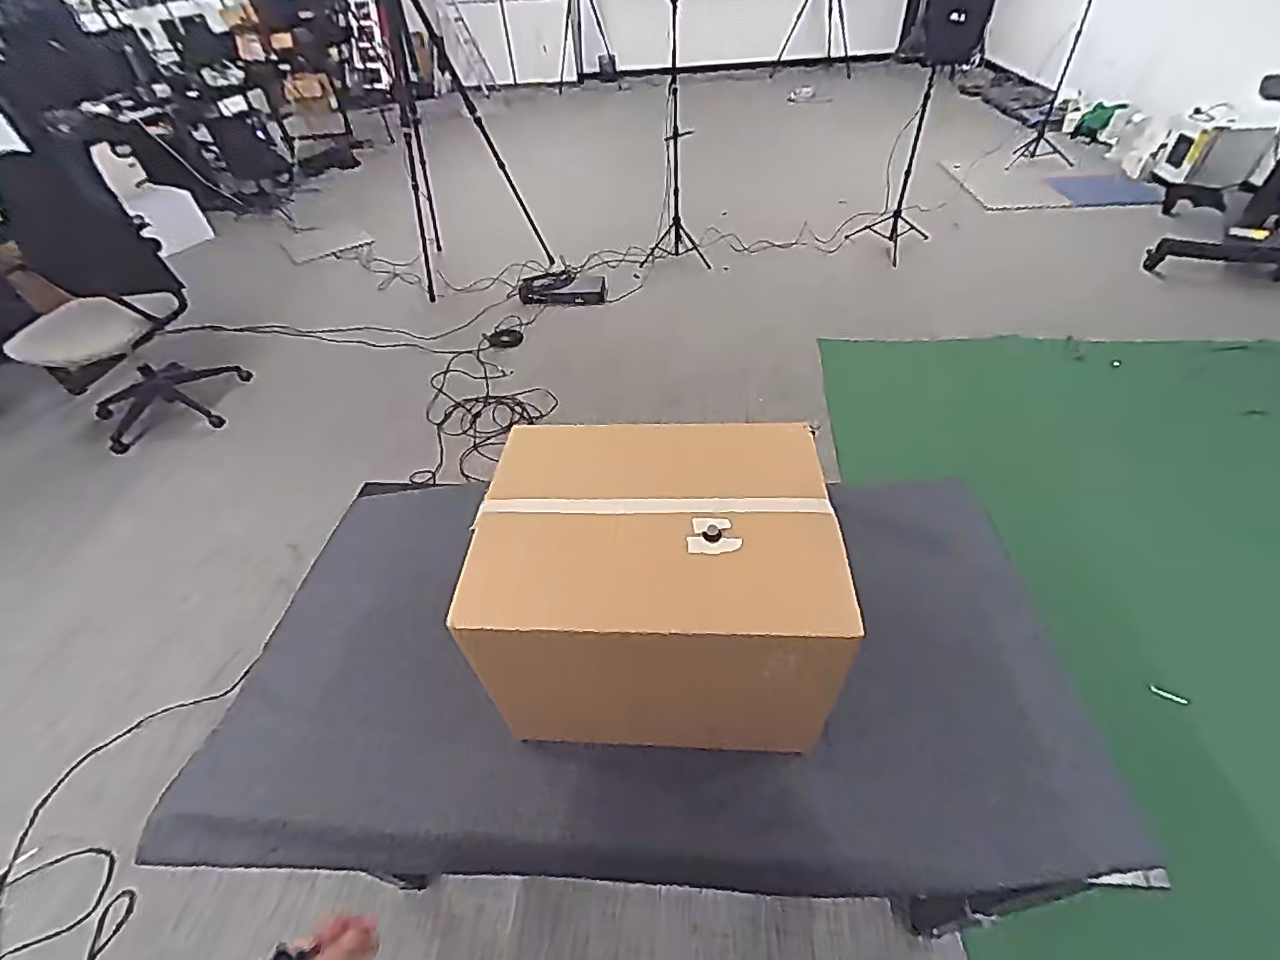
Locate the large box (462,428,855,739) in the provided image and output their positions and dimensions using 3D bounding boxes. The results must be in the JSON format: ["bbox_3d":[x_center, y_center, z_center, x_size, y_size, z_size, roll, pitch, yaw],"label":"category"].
[{"bbox_3d":[0.026,0.144,0.745,0.408,0.320,0.320,0,46,4],"label":"large box"}]
